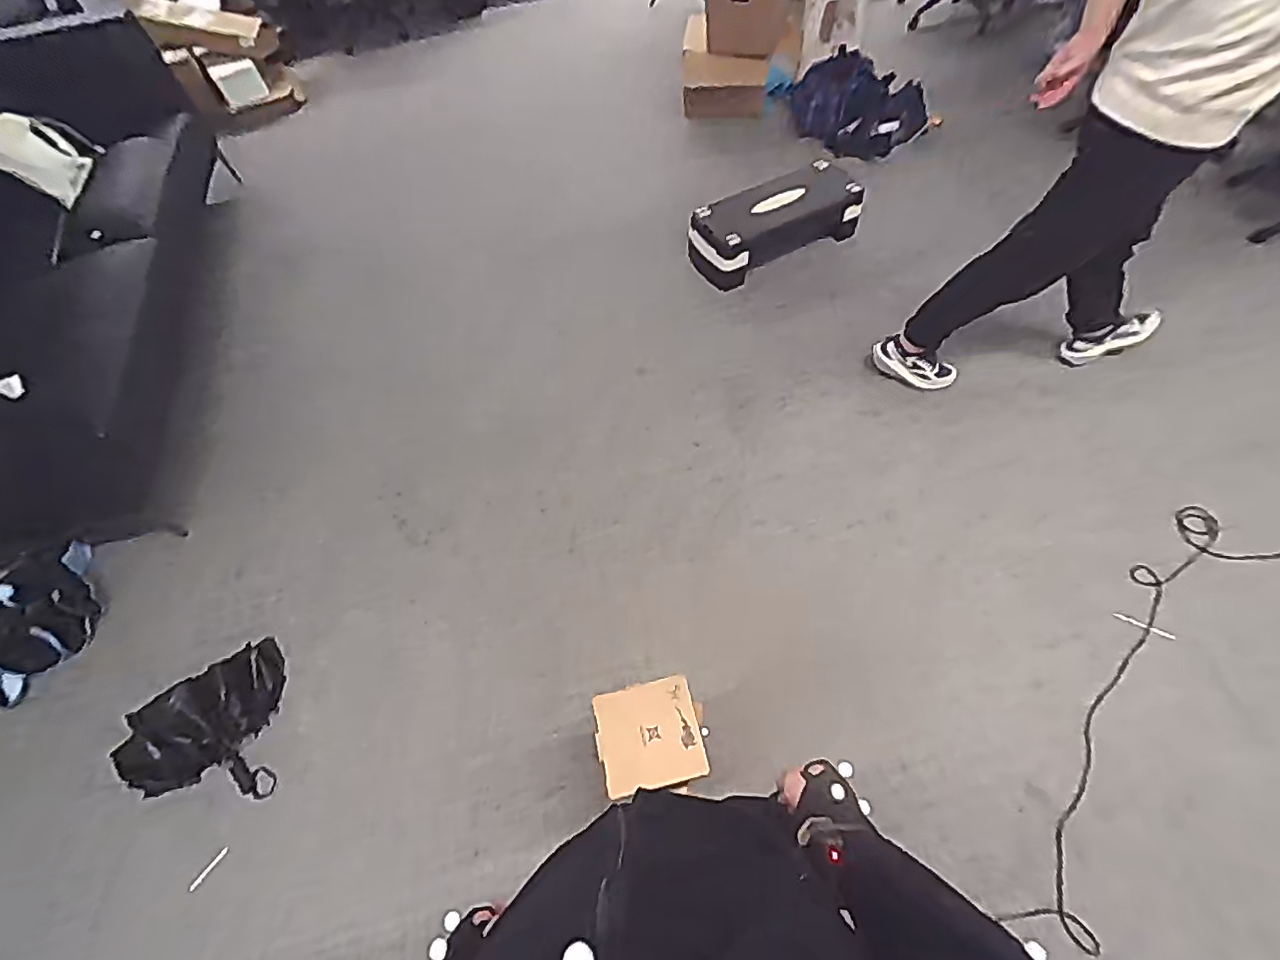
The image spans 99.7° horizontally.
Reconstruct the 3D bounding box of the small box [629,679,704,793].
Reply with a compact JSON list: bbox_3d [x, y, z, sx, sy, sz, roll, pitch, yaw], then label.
[{"bbox_3d":[0.037,0.543,1.146,0.168,0.176,0.179,10,63,12],"label":"small box"}]

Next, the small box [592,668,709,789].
[{"bbox_3d":[0.024,0.465,1.003,0.179,0.176,0.168,-14,61,-1],"label":"small box"}]
